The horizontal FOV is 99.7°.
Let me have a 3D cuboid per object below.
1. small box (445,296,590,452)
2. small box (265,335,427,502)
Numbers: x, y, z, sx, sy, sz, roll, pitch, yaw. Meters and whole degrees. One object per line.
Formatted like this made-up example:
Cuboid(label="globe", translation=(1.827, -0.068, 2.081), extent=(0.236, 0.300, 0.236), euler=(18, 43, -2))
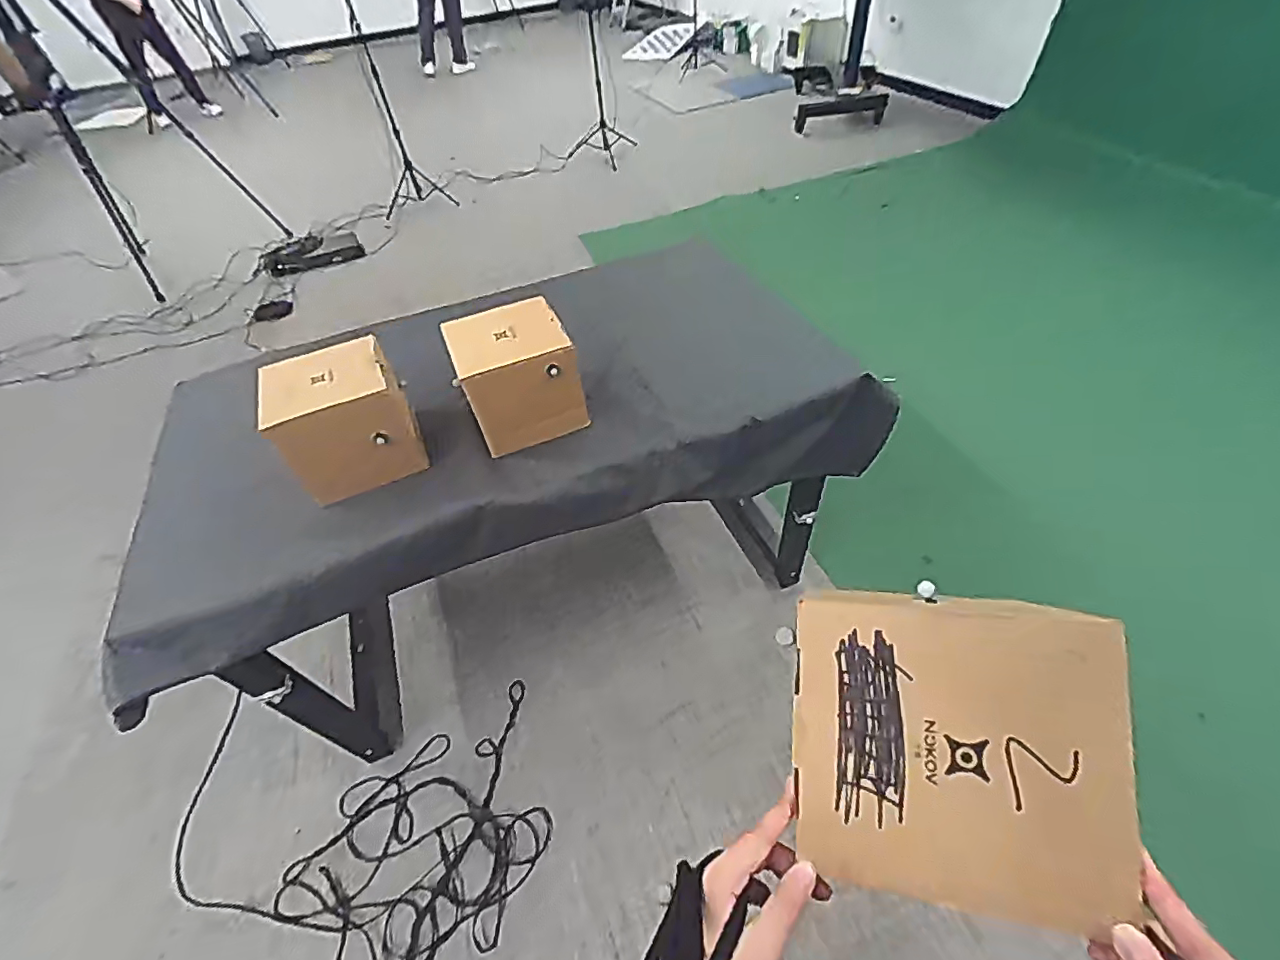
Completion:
Cuboid(label="small box", translation=(-0.199, -0.173, 0.900), extent=(0.179, 0.176, 0.168), euler=(-21, 50, -12))
Cuboid(label="small box", translation=(-0.456, -0.096, 0.861), extent=(0.179, 0.176, 0.168), euler=(-23, 49, -13))
